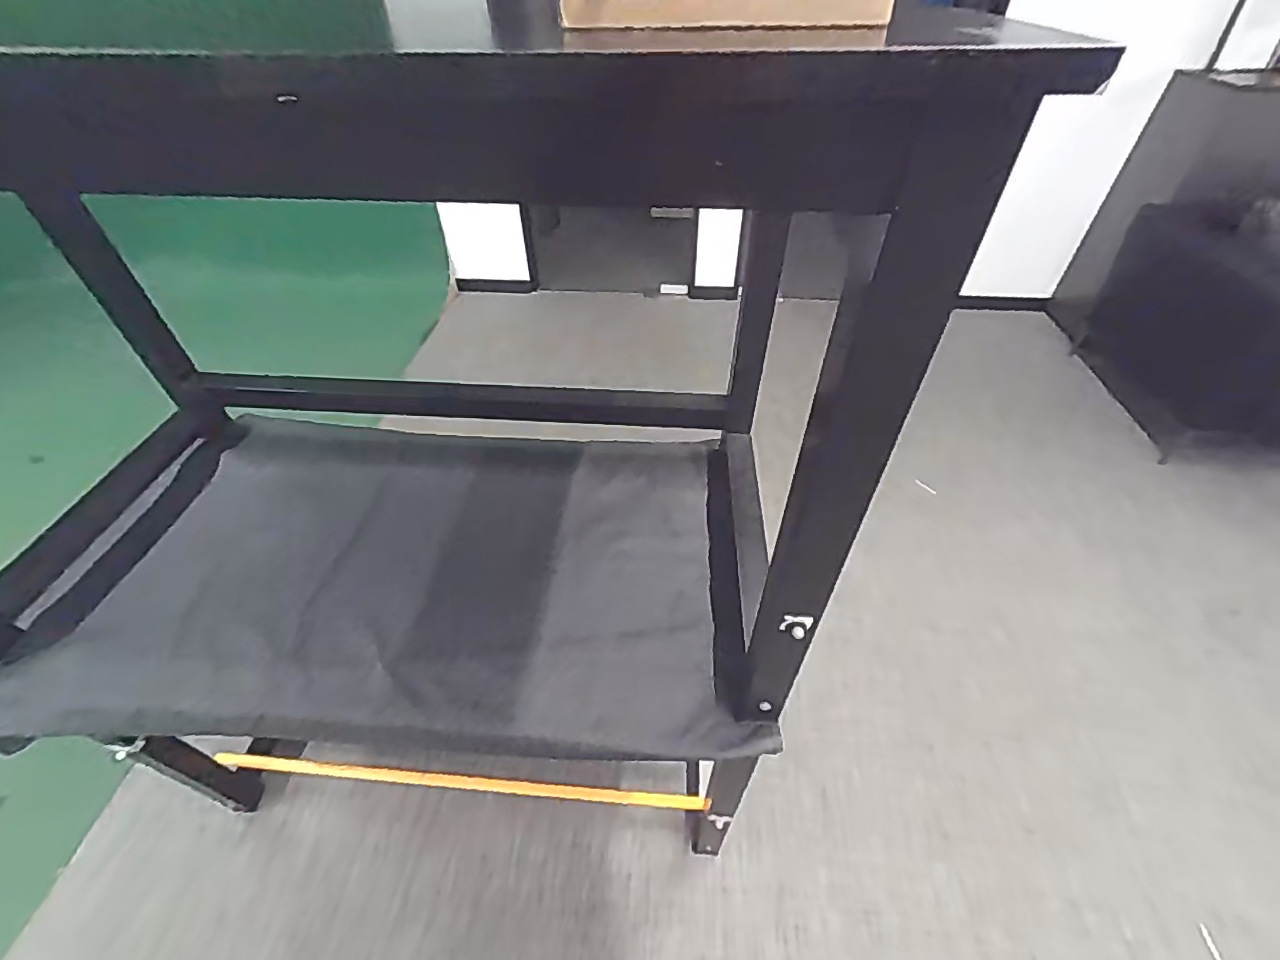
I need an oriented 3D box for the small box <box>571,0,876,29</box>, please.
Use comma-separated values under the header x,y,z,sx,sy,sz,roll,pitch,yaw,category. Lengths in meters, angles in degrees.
x,y,z,sx,sy,sz,roll,pitch,yaw,category
0.049,-0.350,0.284,0.168,0.176,0.179,5,43,6,small box
